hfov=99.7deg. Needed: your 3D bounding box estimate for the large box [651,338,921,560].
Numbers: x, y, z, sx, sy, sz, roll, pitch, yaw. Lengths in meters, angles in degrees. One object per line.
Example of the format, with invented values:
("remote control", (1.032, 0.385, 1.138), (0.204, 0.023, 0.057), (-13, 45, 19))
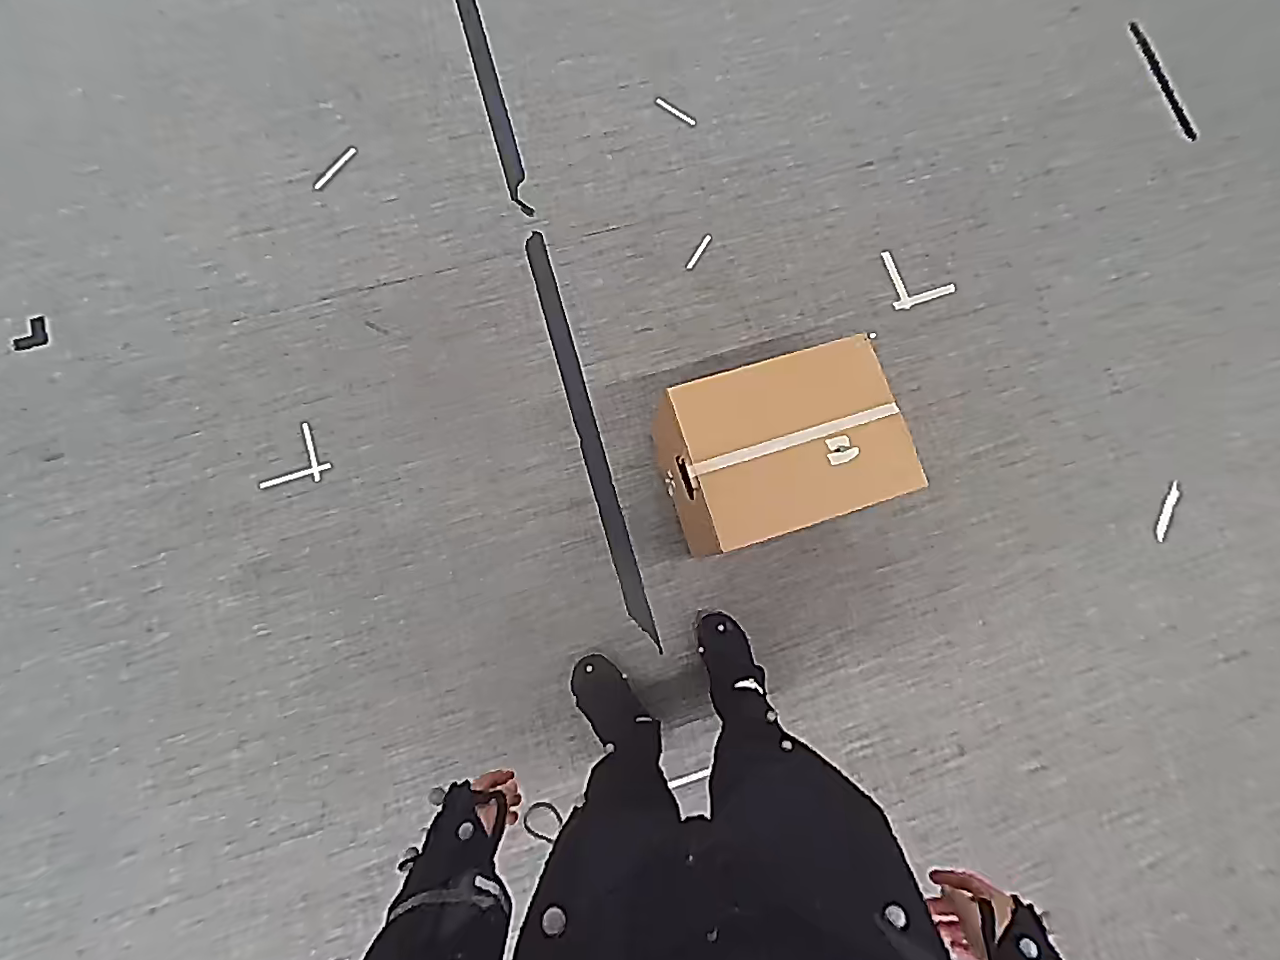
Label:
("large box", (0.269, -0.044, 1.126), (0.408, 0.320, 0.320), (-17, 82, -8))
